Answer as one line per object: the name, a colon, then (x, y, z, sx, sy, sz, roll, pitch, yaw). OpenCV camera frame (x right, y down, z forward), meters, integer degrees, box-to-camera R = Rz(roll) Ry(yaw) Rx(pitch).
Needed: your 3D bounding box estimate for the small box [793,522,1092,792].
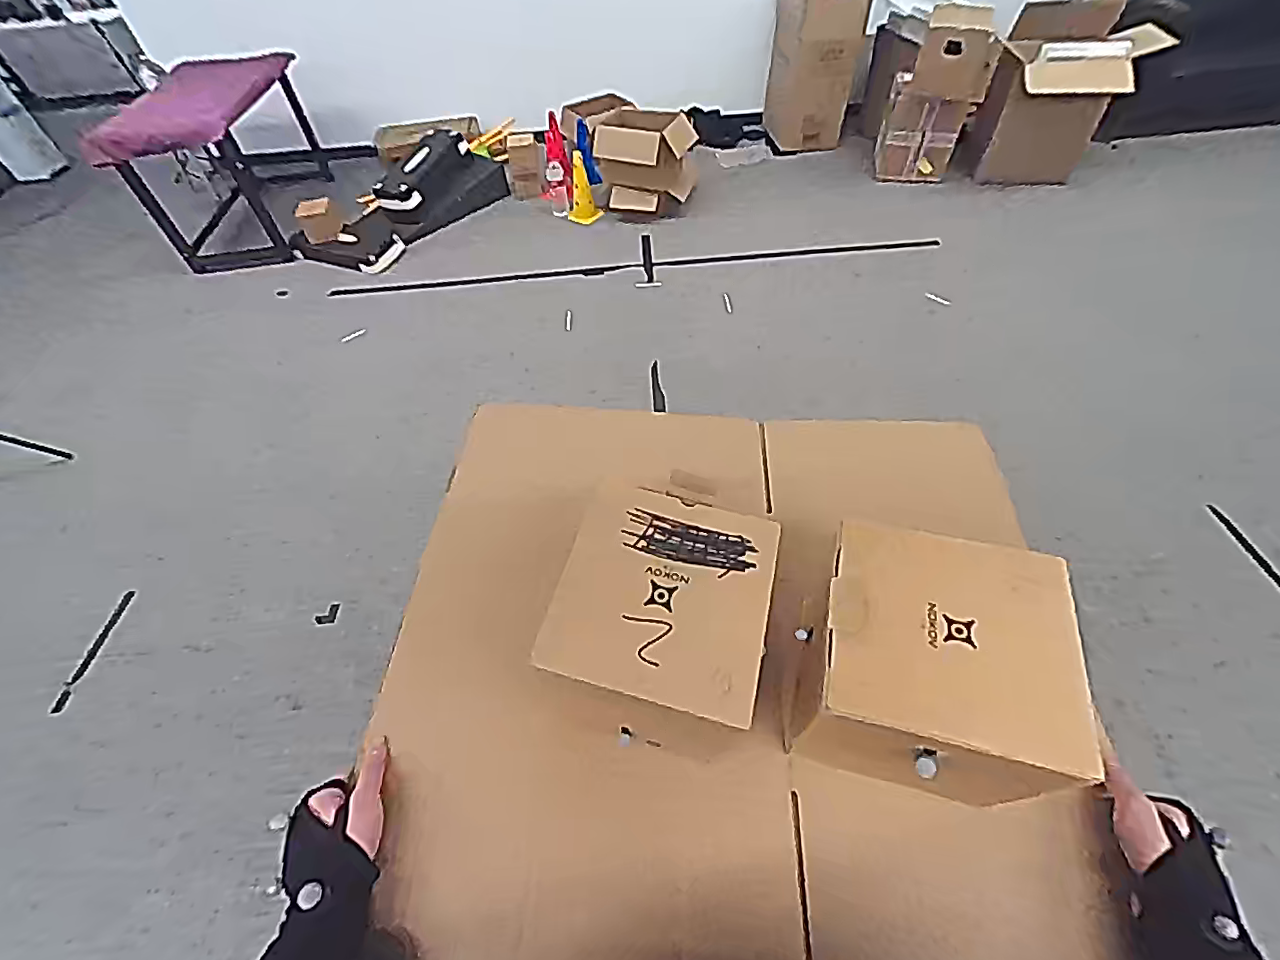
small box: (0.246, 0.163, 0.484, 0.179, 0.176, 0.168, 10, 56, 13)
